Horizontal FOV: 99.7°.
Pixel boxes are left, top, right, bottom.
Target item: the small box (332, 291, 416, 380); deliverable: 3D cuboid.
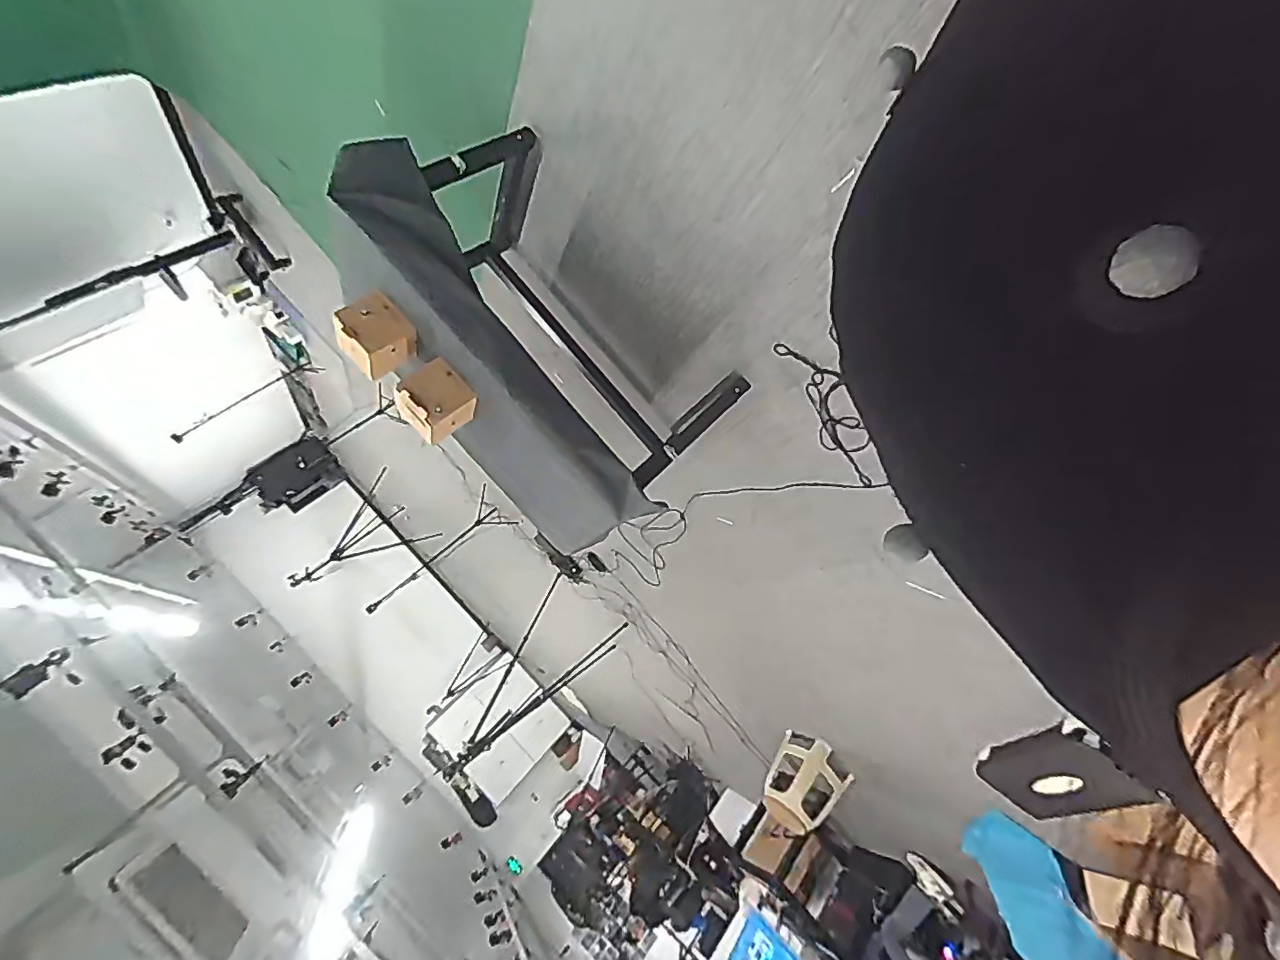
[{"bbox_3d":[-0.811,-0.447,1.669,0.168,0.176,0.179,49,153,-1],"label":"small box"}]
